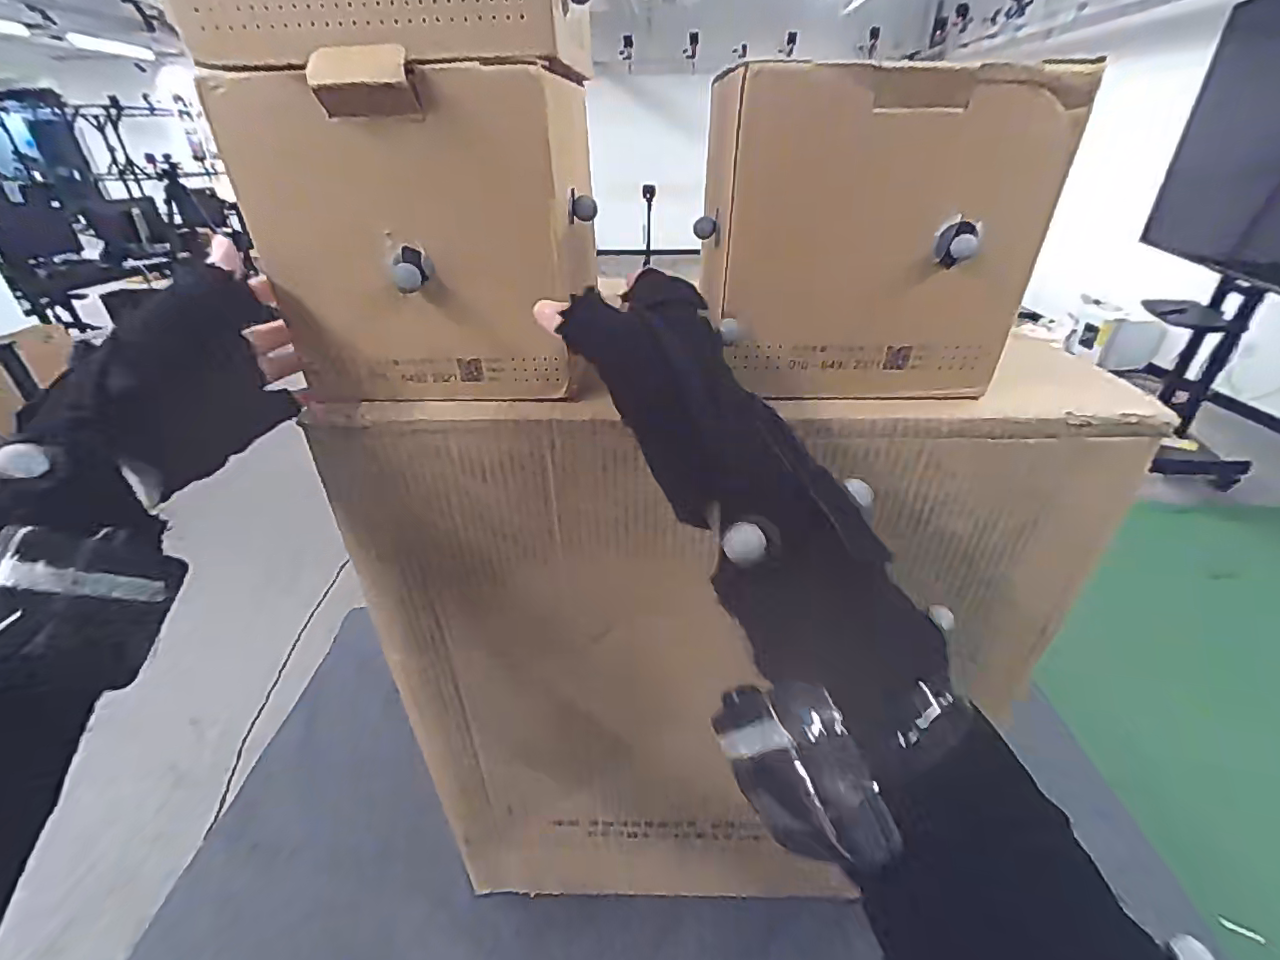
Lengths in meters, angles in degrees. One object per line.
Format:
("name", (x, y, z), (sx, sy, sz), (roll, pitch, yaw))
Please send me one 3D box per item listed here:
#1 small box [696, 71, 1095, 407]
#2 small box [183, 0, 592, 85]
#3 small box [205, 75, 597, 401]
("small box", (0.128, -0.157, 0.357), (0.168, 0.176, 0.179), (2, 32, 1))
("small box", (-0.122, -0.303, 0.278), (0.179, 0.176, 0.168), (0, 33, 3))
("small box", (-0.120, -0.162, 0.364), (0.168, 0.176, 0.179), (1, 34, 2))
